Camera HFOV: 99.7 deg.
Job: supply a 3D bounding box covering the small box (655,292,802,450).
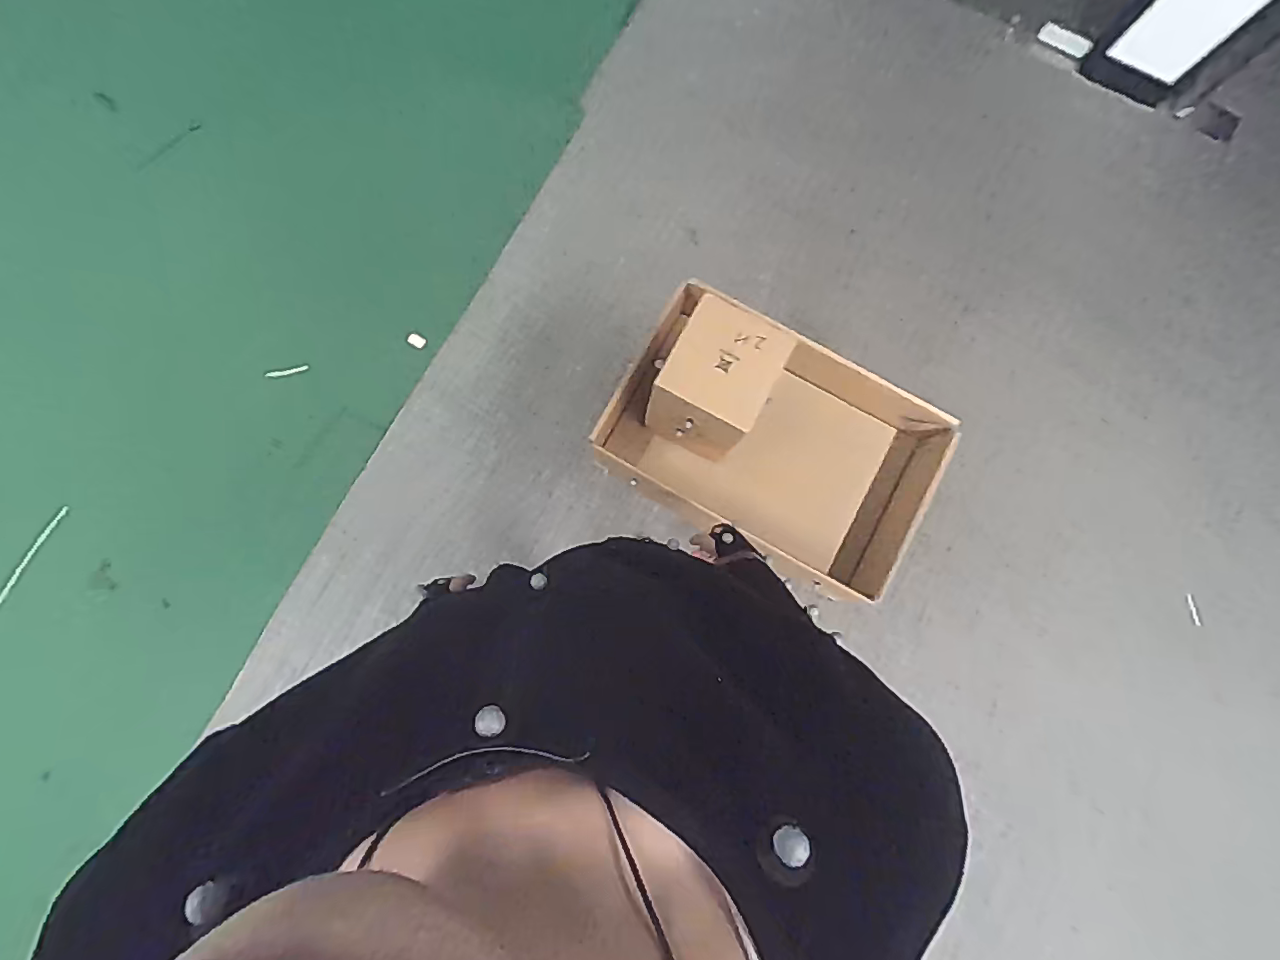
[{"bbox_3d":[0.136,-0.168,0.899,0.168,0.176,0.179,30,82,3],"label":"small box"}]
